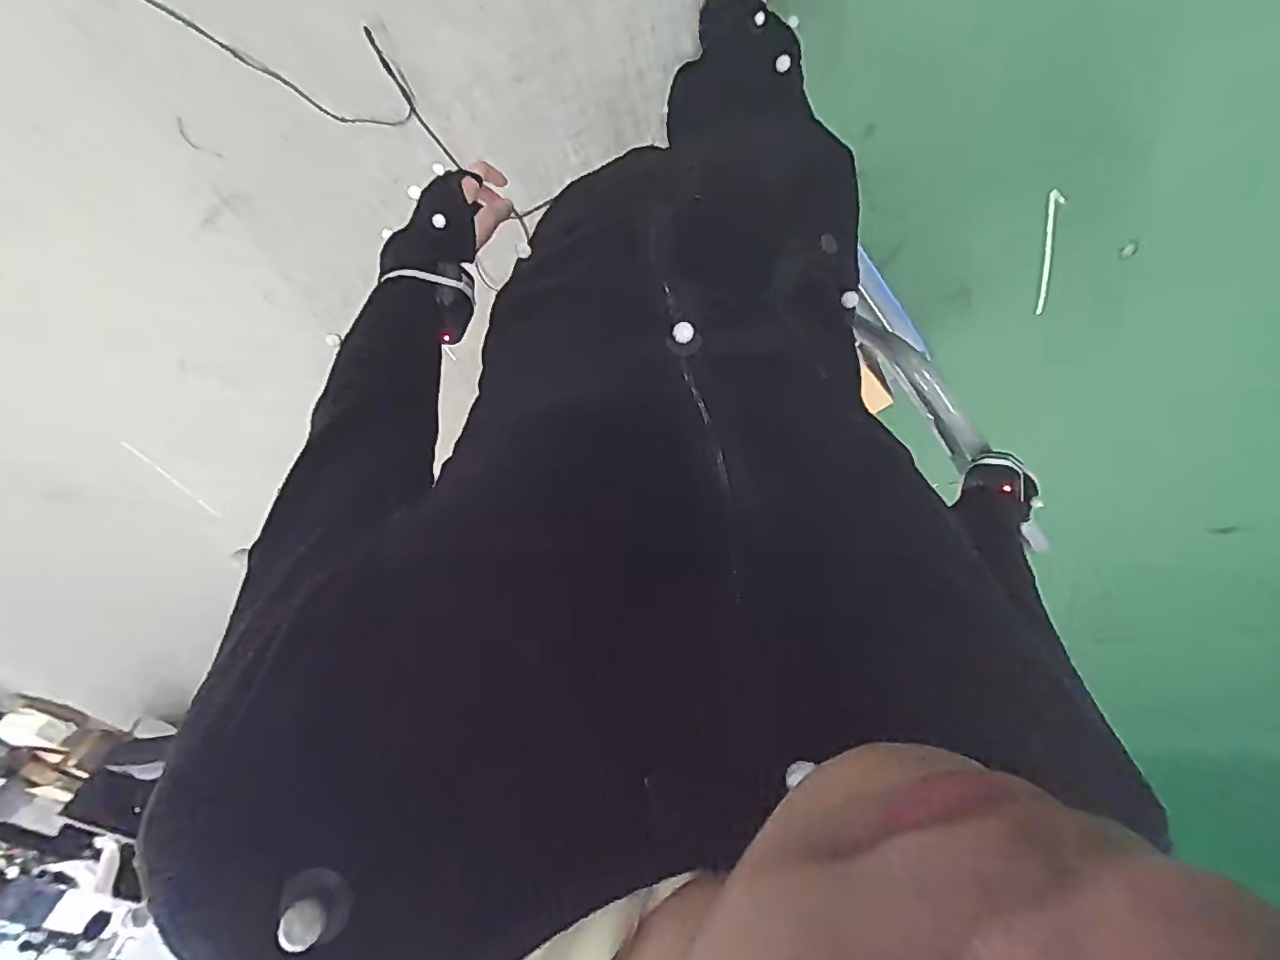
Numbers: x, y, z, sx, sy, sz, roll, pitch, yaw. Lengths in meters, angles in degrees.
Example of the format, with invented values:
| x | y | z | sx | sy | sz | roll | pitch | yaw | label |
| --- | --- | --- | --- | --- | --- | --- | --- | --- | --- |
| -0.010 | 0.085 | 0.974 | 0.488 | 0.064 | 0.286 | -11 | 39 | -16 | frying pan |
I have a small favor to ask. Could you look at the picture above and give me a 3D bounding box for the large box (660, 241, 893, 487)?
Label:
| x | y | z | sx | sy | sz | roll | pitch | yaw | label |
| --- | --- | --- | --- | --- | --- | --- | --- | --- | --- |
| 0.300 | -0.263 | 1.267 | 0.320 | 0.320 | 0.408 | 39 | 126 | -25 | large box |
